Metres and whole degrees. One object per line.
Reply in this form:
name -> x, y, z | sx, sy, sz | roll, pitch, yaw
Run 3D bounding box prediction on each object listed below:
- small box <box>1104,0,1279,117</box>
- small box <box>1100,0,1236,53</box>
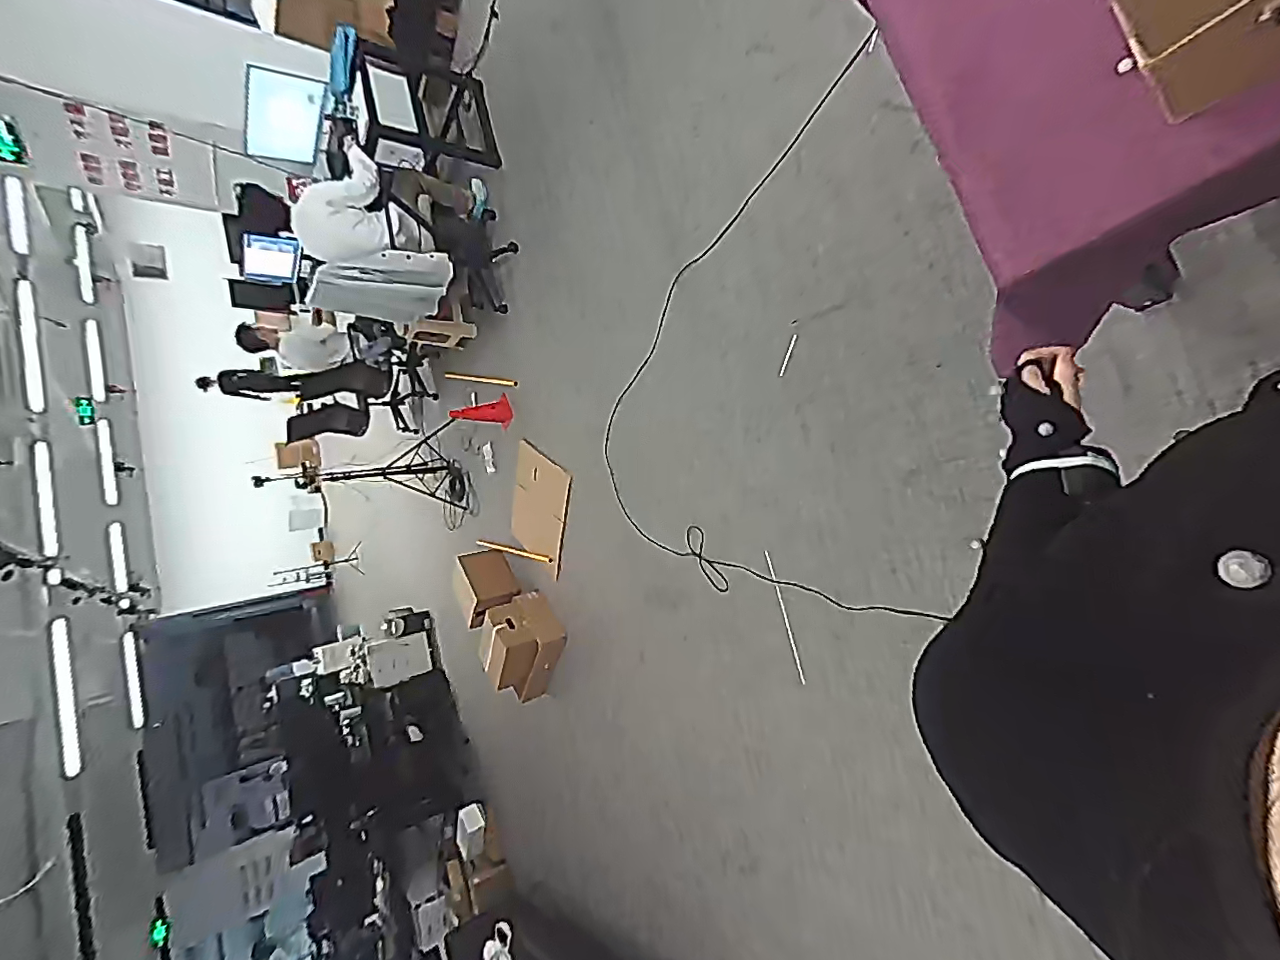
small box -> 0.521, -0.460, 0.462 | 0.179, 0.176, 0.168 | -22, 79, 50
small box -> 0.396, -0.445, 0.356 | 0.179, 0.176, 0.168 | -24, 78, 52
